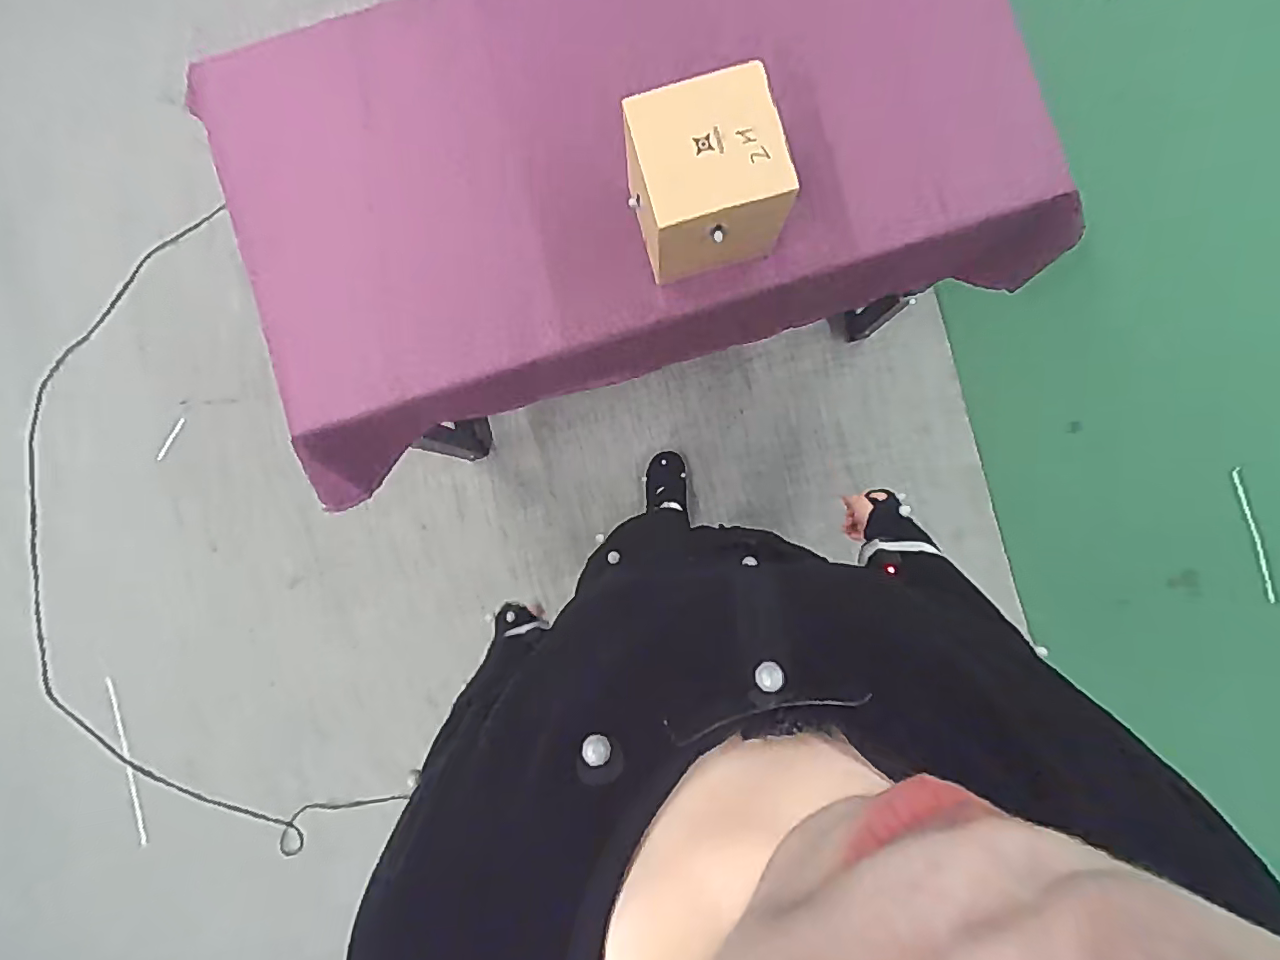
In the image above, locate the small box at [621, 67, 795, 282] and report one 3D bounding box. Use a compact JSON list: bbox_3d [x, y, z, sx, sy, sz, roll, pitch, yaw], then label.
[{"bbox_3d":[0.083,-0.388,0.720,0.179,0.176,0.168,-15,87,1],"label":"small box"}]
